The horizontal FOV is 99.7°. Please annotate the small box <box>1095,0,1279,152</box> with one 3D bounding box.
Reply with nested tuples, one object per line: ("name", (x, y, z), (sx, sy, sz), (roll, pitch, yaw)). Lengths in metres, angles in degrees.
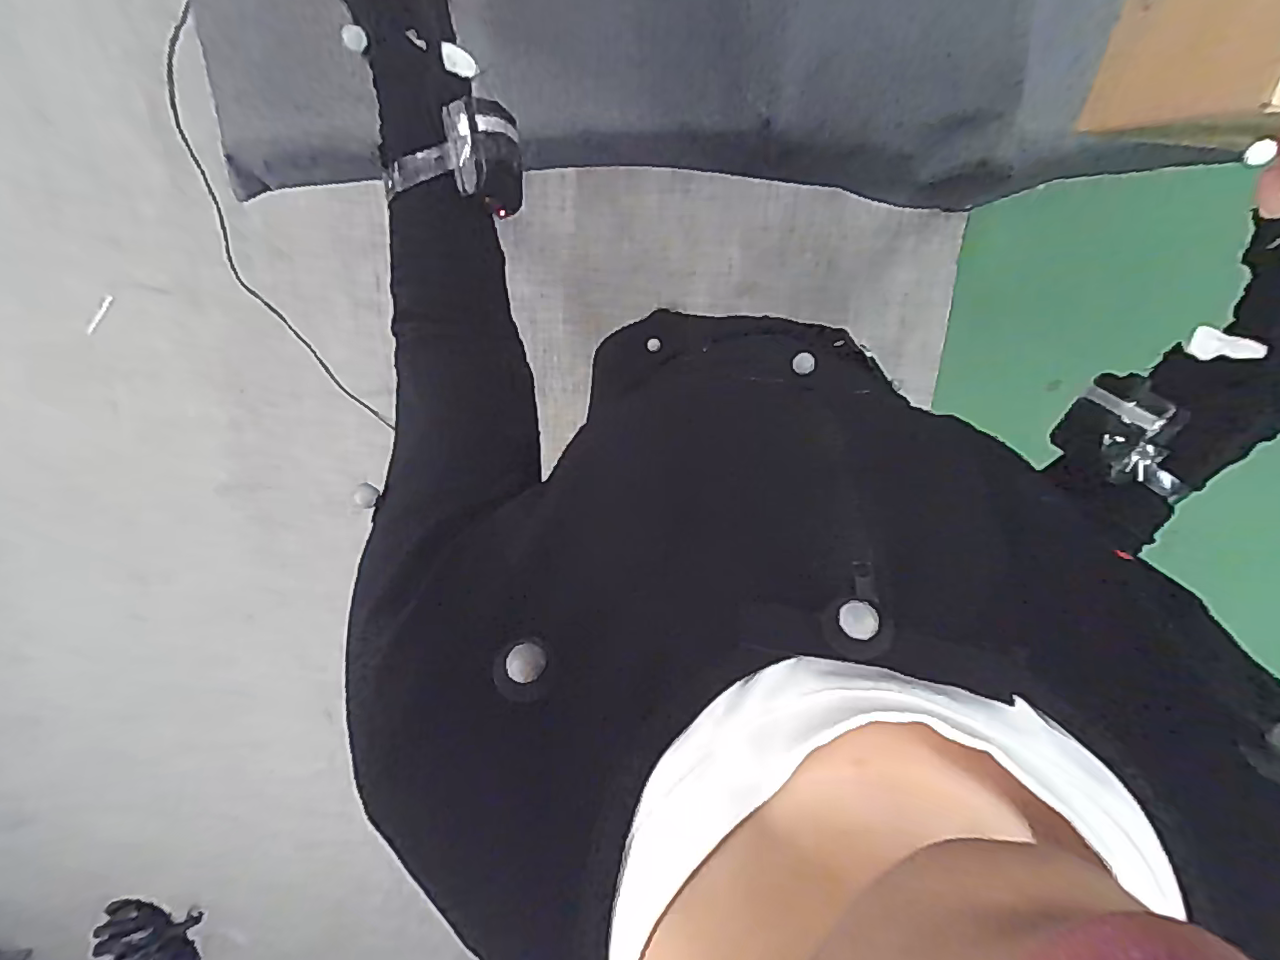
("small box", (0.418, -0.294, 0.307), (0.168, 0.176, 0.179), (6, 120, 2))
